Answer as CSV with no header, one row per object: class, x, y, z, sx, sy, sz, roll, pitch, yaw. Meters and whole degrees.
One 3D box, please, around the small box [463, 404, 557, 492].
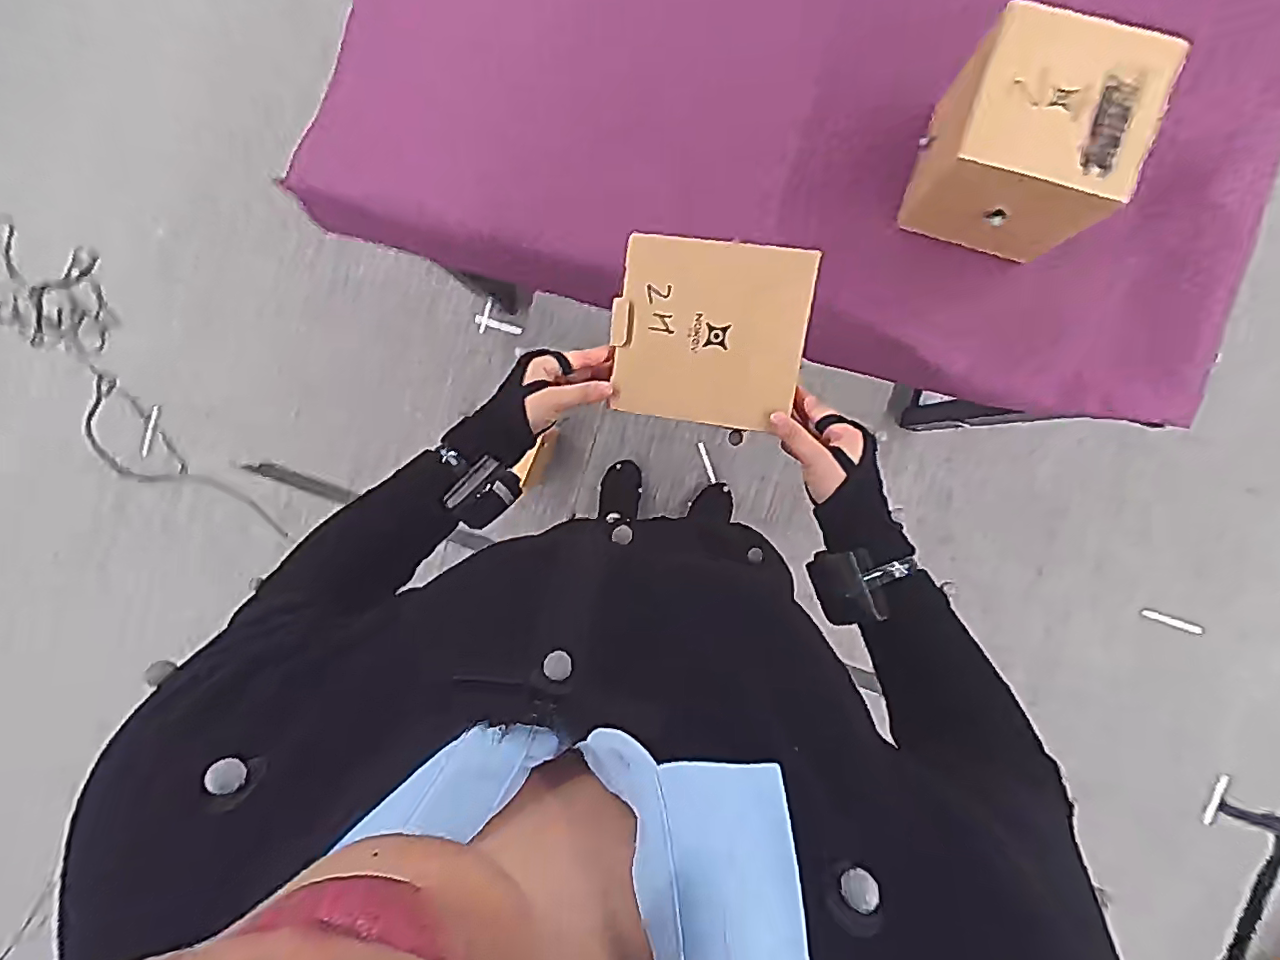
small box,-0.334,-0.084,1.430,0.168,0.176,0.179,23,94,2
